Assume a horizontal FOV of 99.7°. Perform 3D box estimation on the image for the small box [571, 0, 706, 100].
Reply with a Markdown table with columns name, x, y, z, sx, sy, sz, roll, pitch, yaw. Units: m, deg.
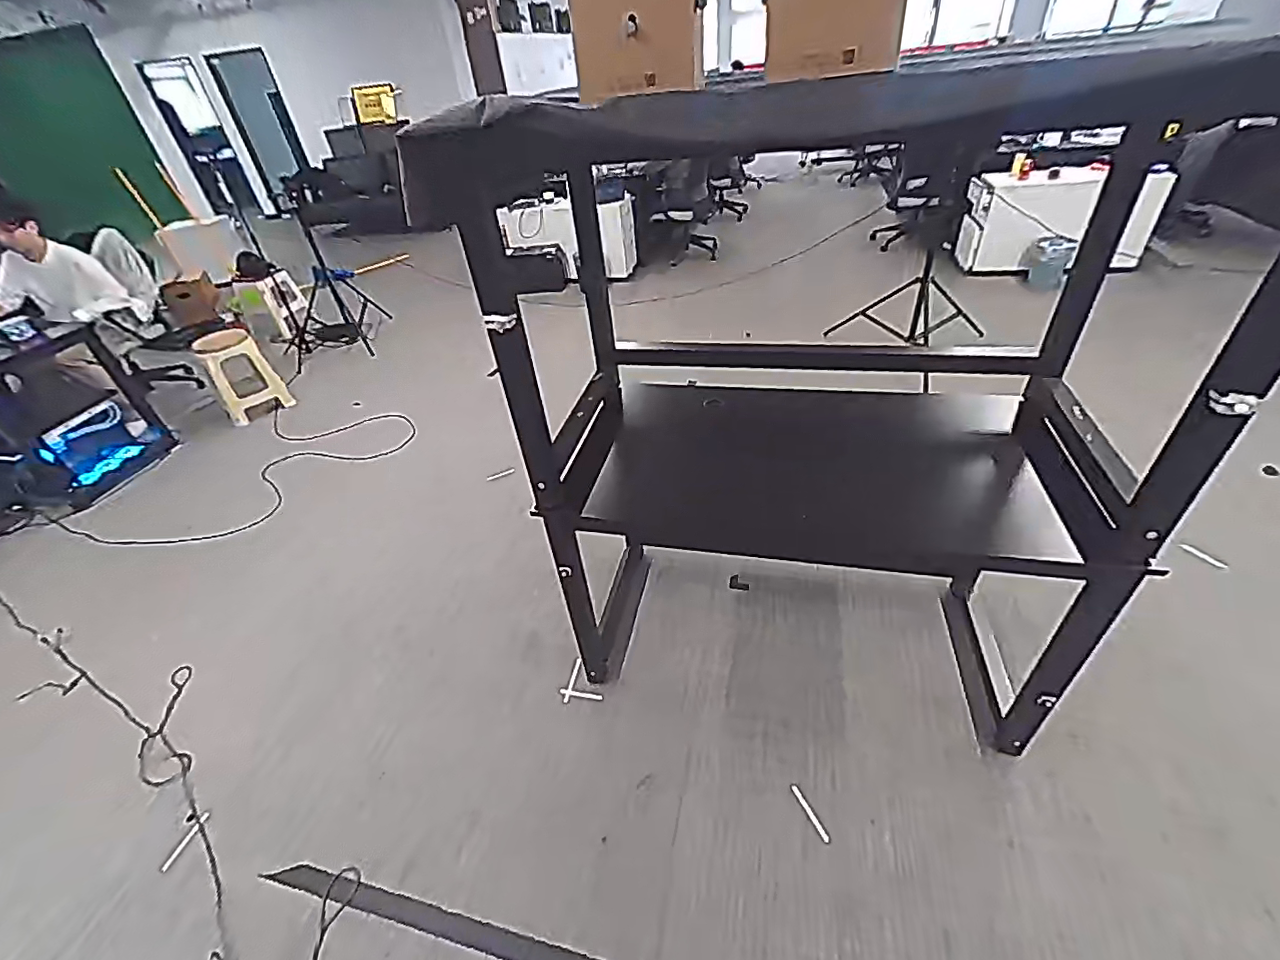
| name | x | y | z | sx | sy | sz | roll | pitch | yaw |
| --- | --- | --- | --- | --- | --- | --- | --- | --- | --- |
| small box | 0.006 | -0.646 | 0.764 | 0.168 | 0.176 | 0.179 | 2 | 38 | 10 |
